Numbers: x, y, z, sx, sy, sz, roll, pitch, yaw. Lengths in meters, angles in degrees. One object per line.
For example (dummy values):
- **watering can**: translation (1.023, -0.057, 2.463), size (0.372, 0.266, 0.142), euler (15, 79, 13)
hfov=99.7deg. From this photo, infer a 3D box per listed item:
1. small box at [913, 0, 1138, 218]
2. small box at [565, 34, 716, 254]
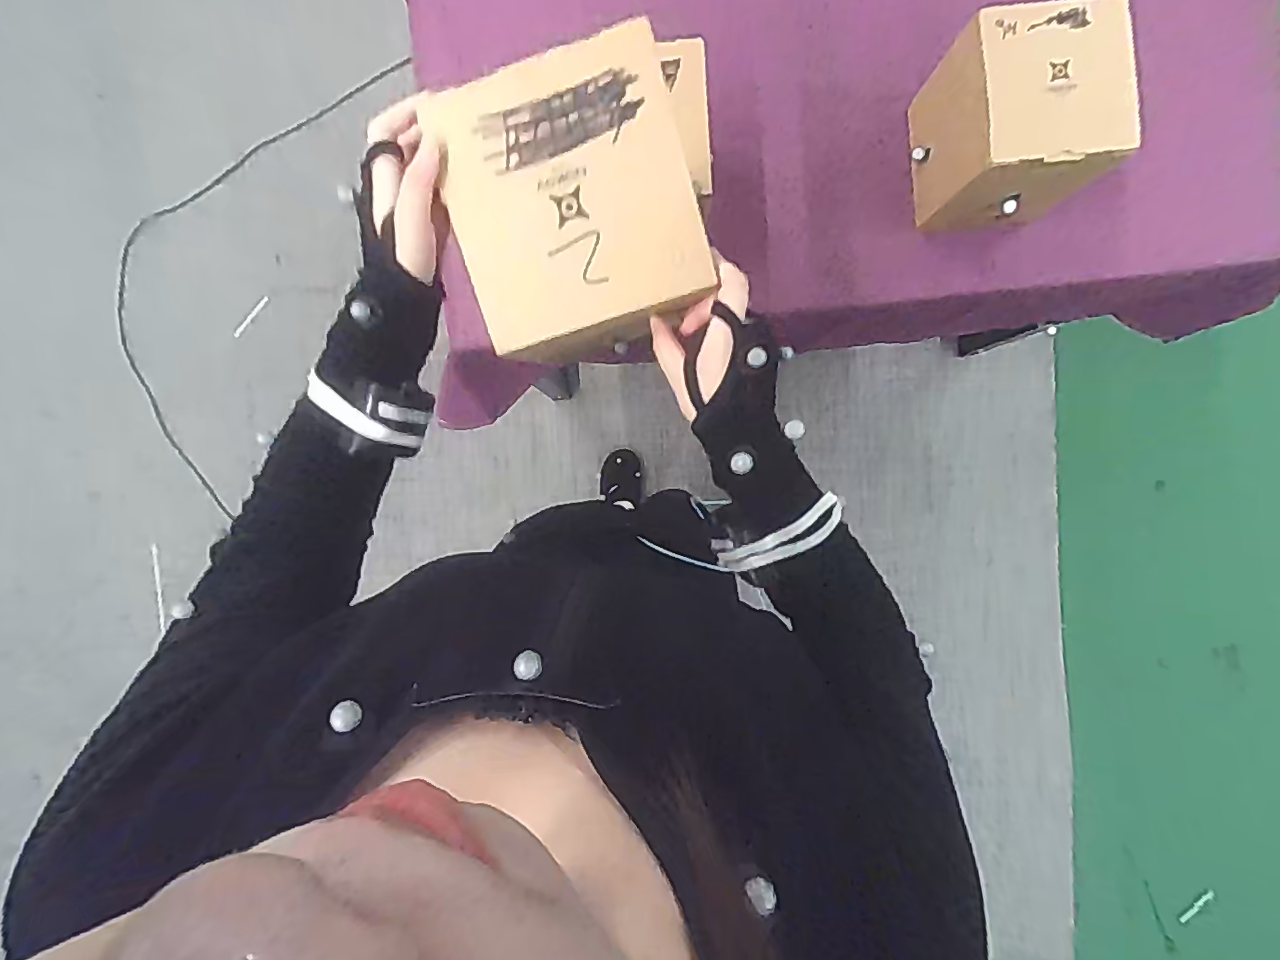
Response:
- **small box**: translation (0.464, -0.446, 0.675), size (0.168, 0.176, 0.179), euler (-4, 93, 0)
- **small box**: translation (0.000, -0.406, 0.679), size (0.168, 0.176, 0.179), euler (-3, 93, 1)
